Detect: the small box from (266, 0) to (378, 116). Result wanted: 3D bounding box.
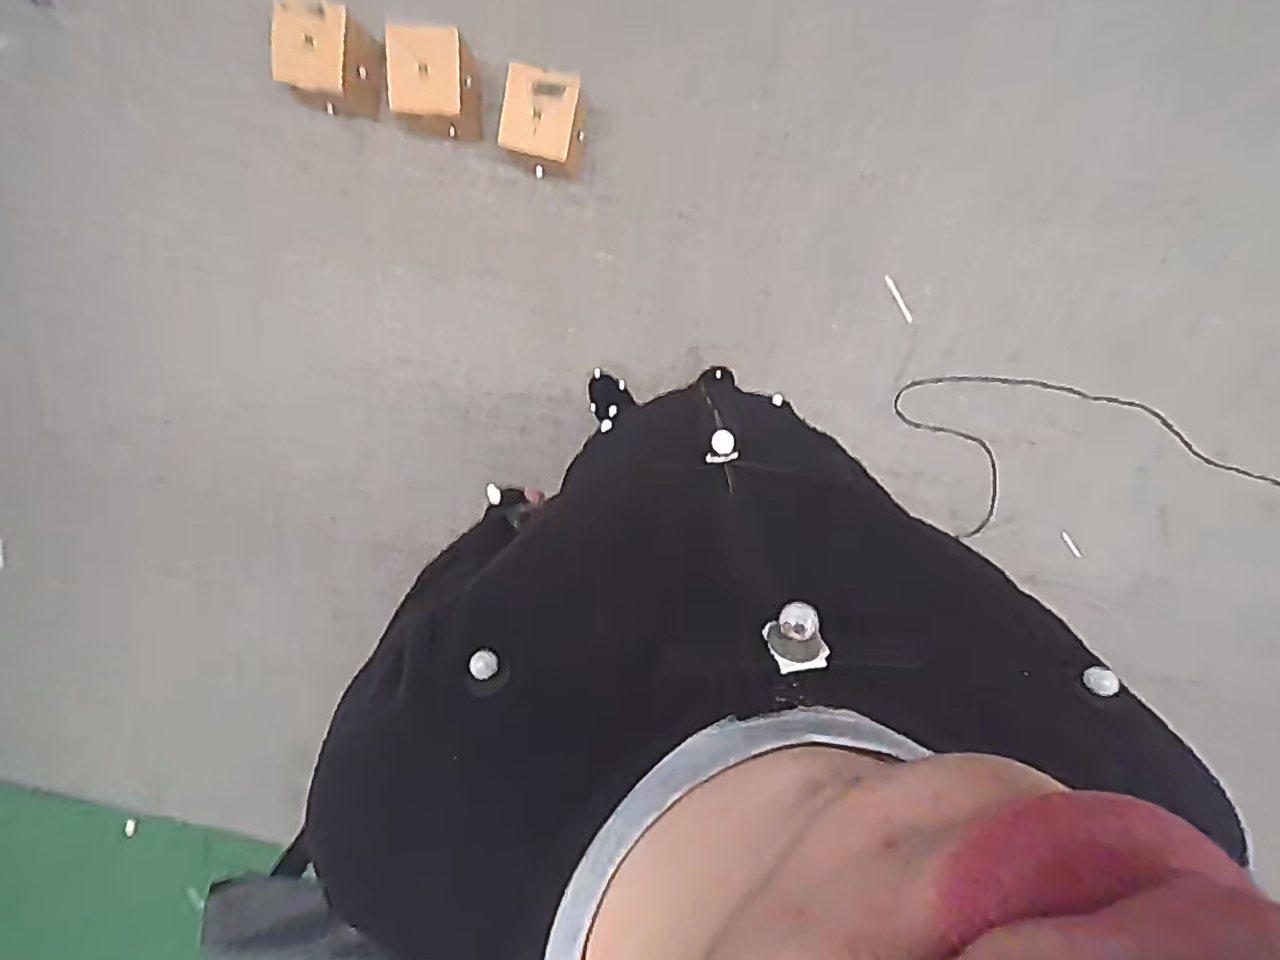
[{"bbox_3d":[-0.739,-0.993,1.270,0.168,0.176,0.179,11,104,-1],"label":"small box"}]

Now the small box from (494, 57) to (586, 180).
[{"bbox_3d":[-0.230,-0.848,1.286,0.168,0.176,0.179,14,104,-1],"label":"small box"}]

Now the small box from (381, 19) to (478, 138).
[{"bbox_3d":[-0.488,-0.936,1.276,0.168,0.176,0.179,3,101,0],"label":"small box"}]
